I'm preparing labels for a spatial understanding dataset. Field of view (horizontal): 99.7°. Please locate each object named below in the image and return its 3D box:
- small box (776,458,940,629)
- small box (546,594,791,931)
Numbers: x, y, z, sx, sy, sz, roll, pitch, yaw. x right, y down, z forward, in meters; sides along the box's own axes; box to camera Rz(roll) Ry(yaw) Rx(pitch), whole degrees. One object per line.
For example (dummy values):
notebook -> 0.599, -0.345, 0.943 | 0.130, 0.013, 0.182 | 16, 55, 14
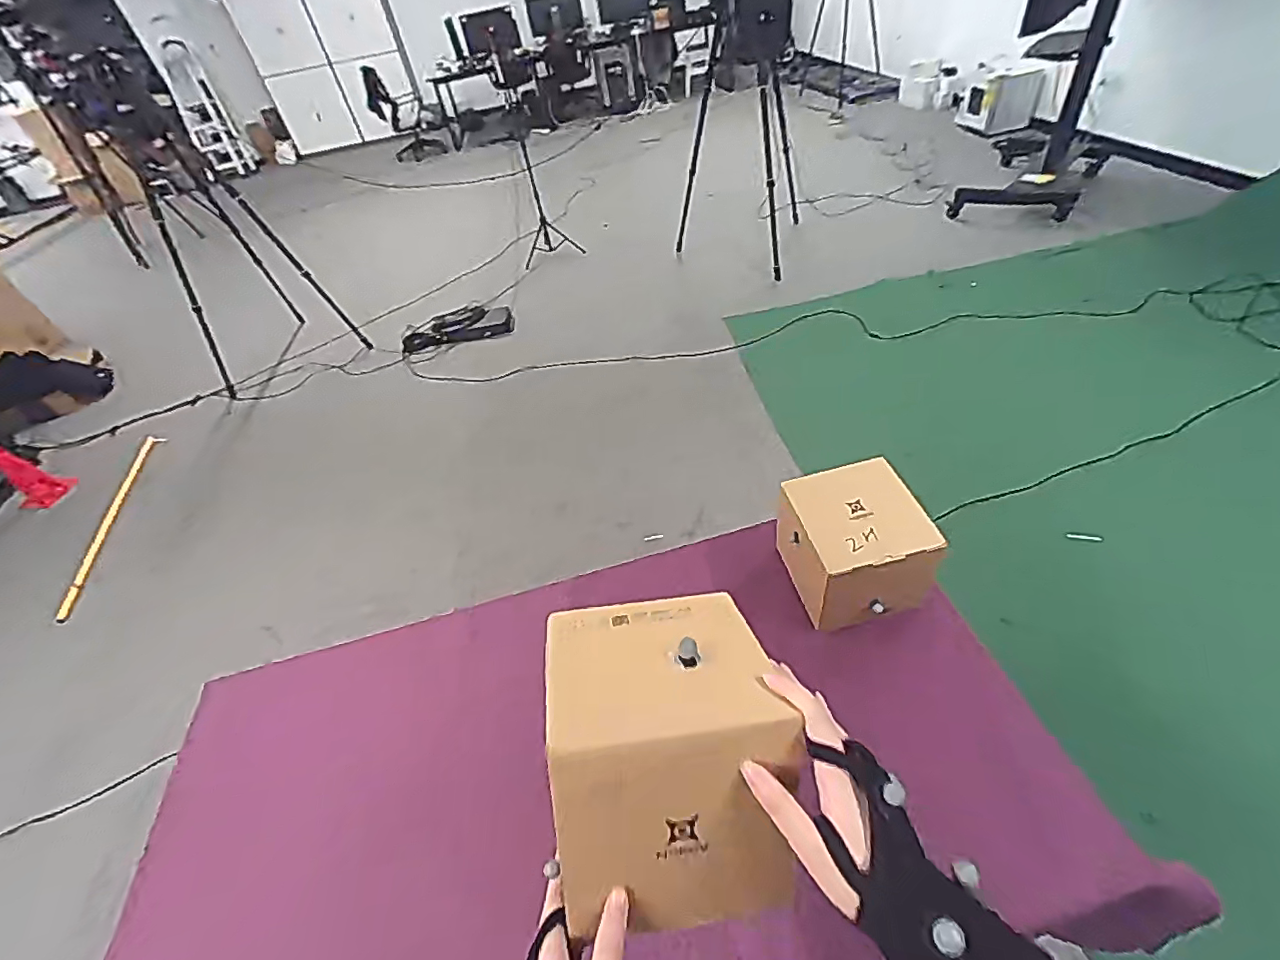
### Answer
small box -> 0.315, 0.098, 0.826 | 0.168, 0.176, 0.179 | -14, 47, -1
small box -> 0.012, 0.208, 0.445 | 0.168, 0.179, 0.176 | -6, 18, -7
